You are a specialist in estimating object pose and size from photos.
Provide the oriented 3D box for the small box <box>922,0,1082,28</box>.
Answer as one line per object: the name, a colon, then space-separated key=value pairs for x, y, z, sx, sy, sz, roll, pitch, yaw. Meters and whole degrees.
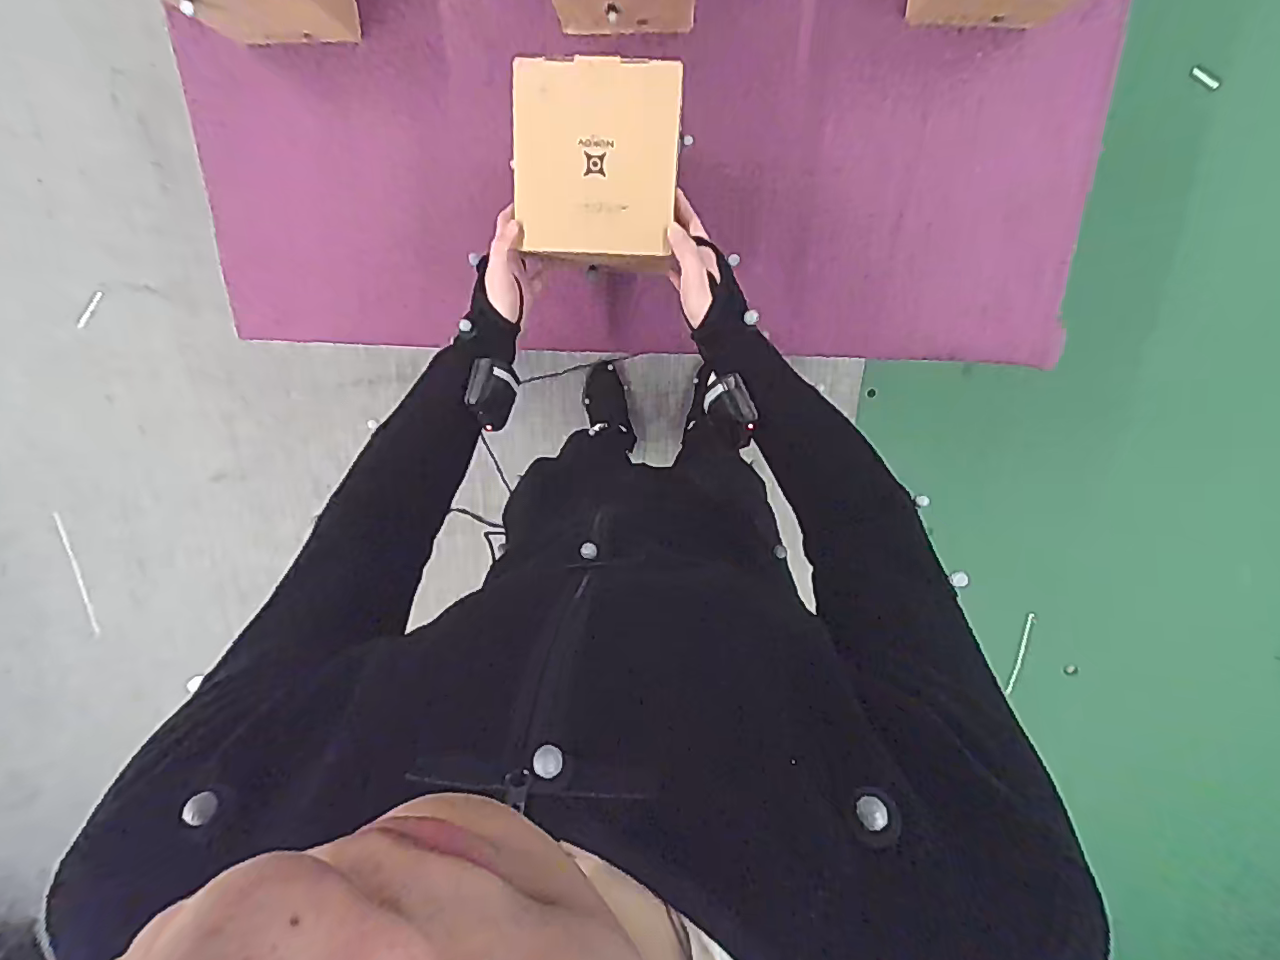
small box: x=0.418 y=-0.612 z=0.554 sx=0.168 sy=0.176 sz=0.179 roll=5 pitch=110 yaw=2

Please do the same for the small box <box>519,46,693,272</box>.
small box: x=-0.034 y=-0.339 z=0.604 sx=0.168 sy=0.176 sz=0.179 roll=4 pitch=106 yaw=2

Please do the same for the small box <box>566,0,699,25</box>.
small box: x=-0.012 y=-0.625 z=0.569 sx=0.168 sy=0.176 sz=0.179 roll=1 pitch=110 yaw=1
